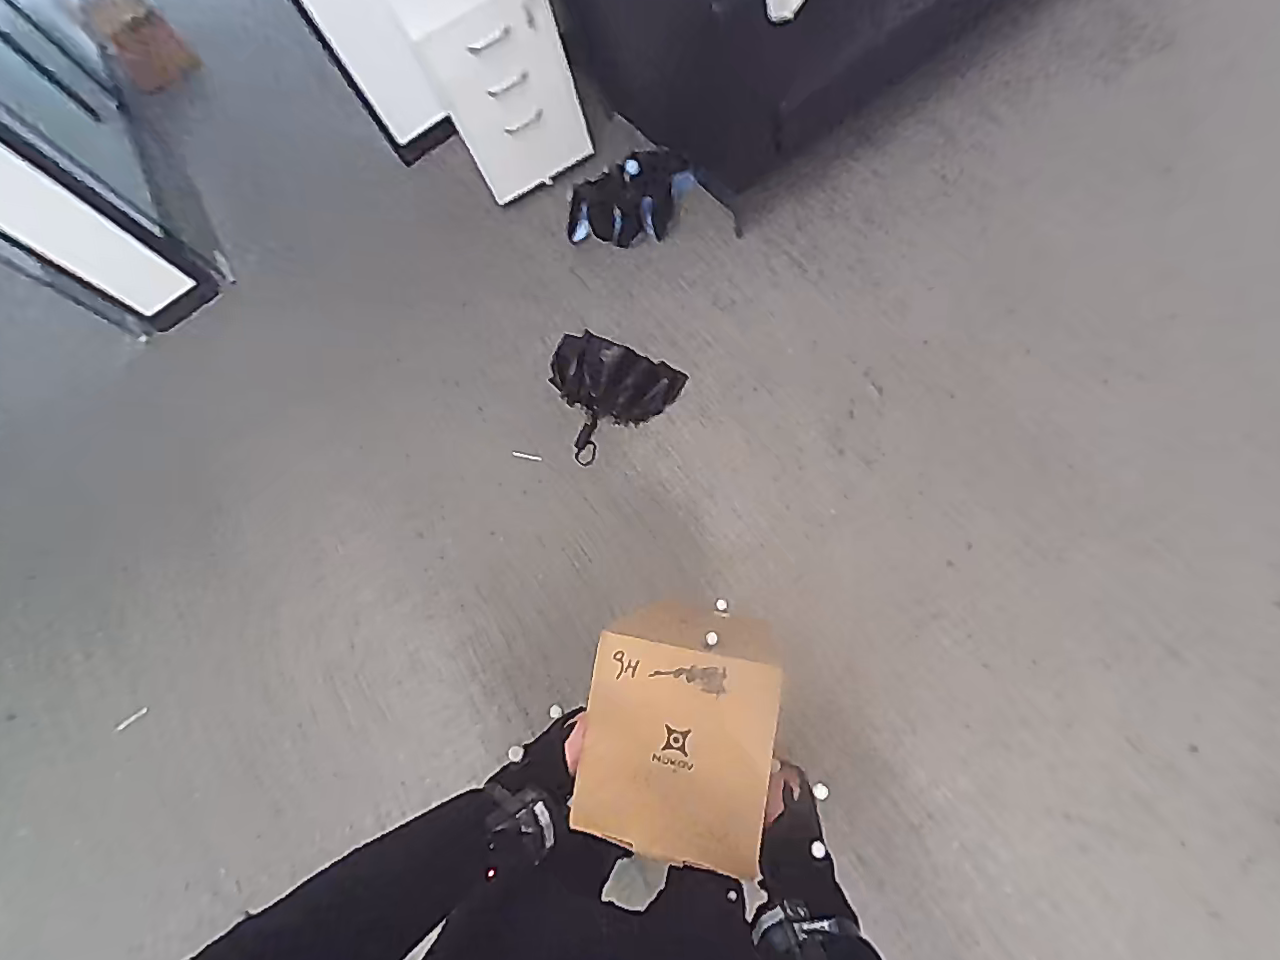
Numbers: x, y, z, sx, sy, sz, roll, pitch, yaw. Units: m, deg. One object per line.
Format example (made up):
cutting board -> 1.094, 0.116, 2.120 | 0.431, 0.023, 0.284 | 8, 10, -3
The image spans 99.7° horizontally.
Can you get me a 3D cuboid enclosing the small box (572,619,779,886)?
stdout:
small box -> 0.045, 0.250, 0.548 | 0.168, 0.176, 0.179 | 7, 84, 12
